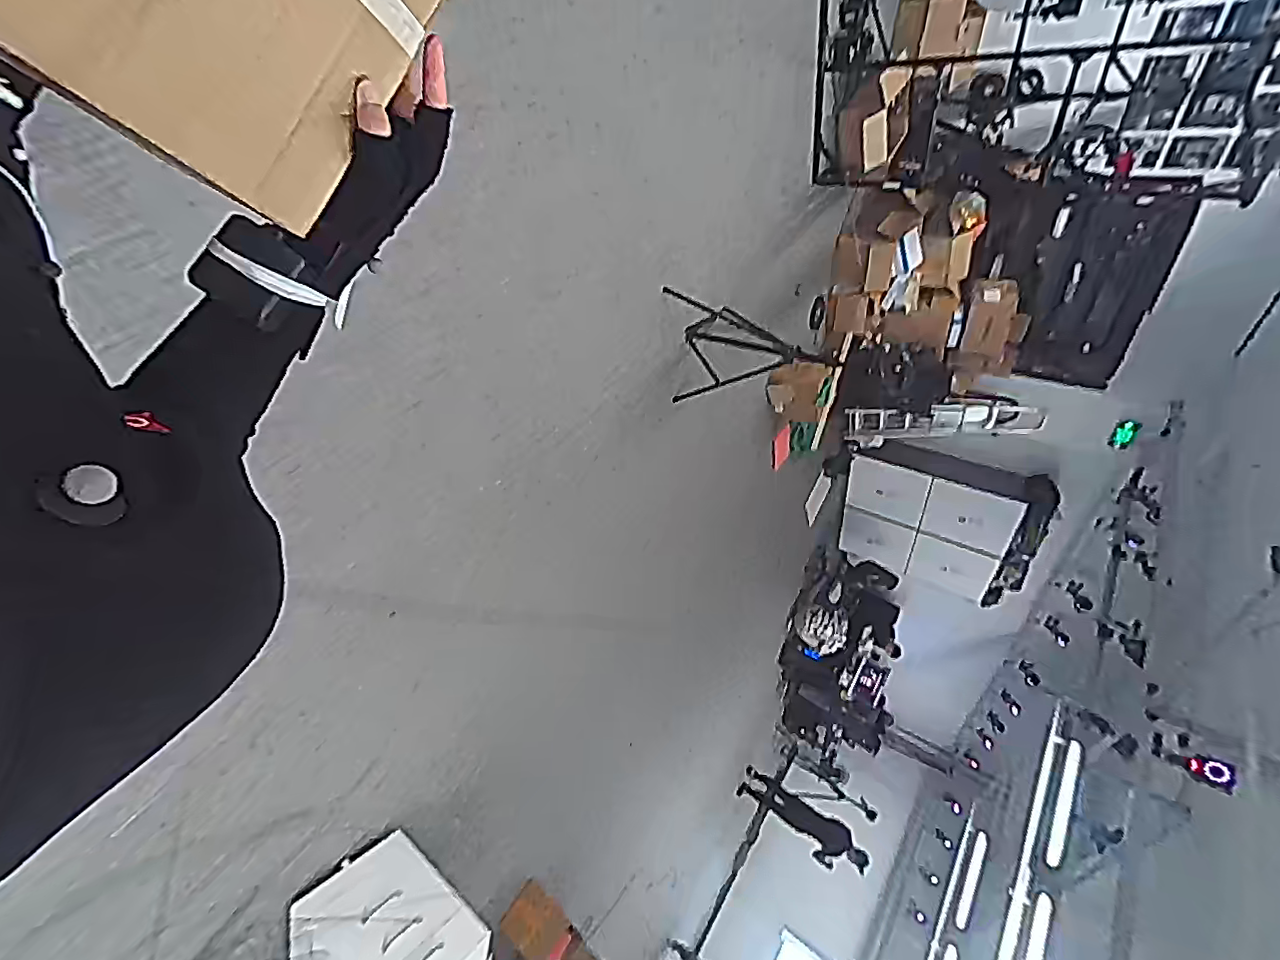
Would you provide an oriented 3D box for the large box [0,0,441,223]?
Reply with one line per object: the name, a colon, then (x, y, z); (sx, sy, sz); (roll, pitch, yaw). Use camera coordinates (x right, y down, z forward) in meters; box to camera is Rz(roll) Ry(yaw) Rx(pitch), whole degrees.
large box: (-0.367, -0.431, 0.309); (0.320, 0.320, 0.408); (-58, 146, 2)
